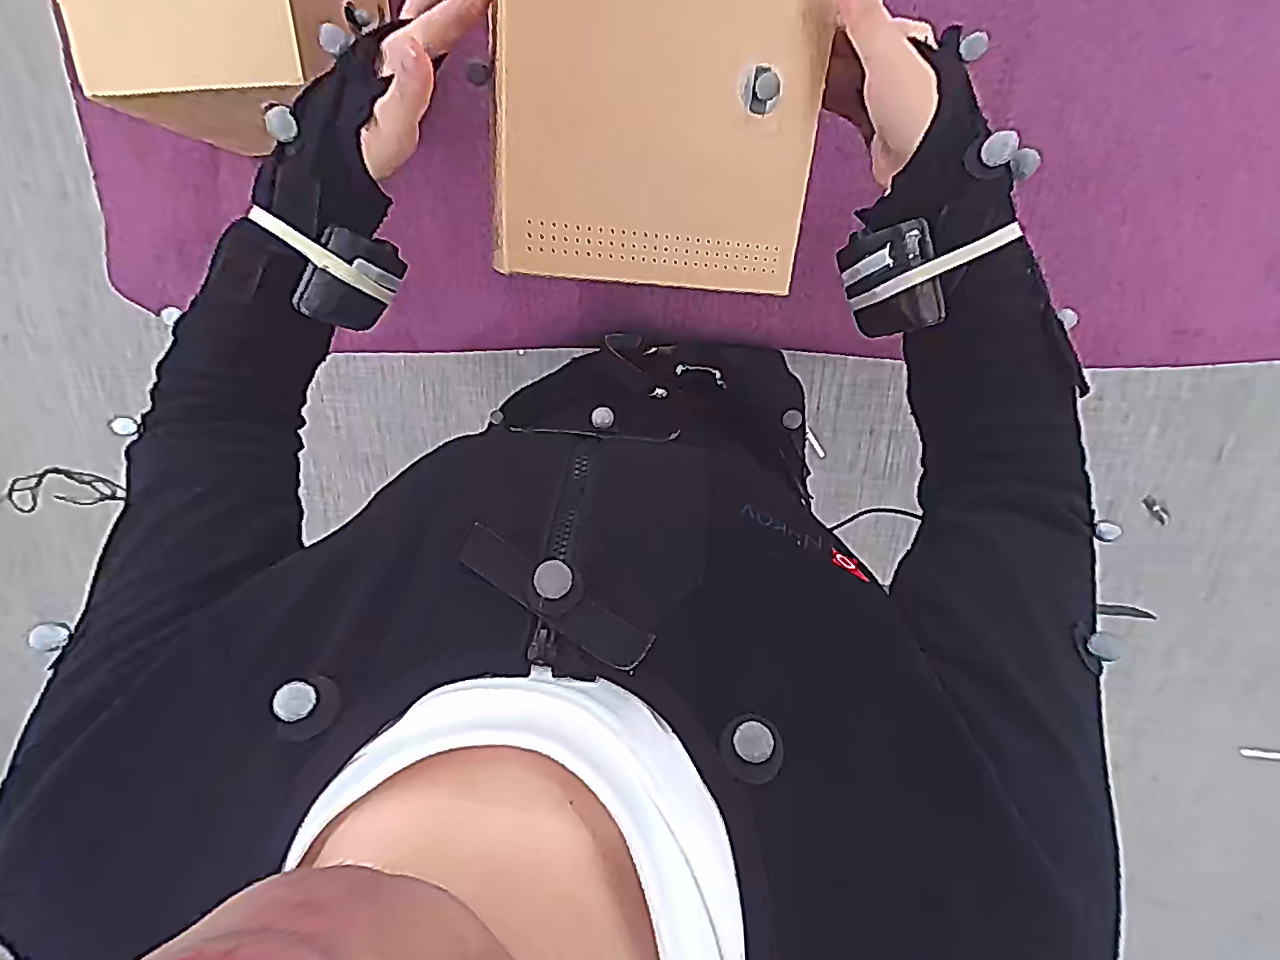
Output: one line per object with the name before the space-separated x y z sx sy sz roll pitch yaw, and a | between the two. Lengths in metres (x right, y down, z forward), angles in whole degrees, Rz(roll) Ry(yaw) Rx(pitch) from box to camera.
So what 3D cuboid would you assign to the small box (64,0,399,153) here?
small box | -0.324 -0.390 0.453 0.179 0.176 0.168 0 107 3
